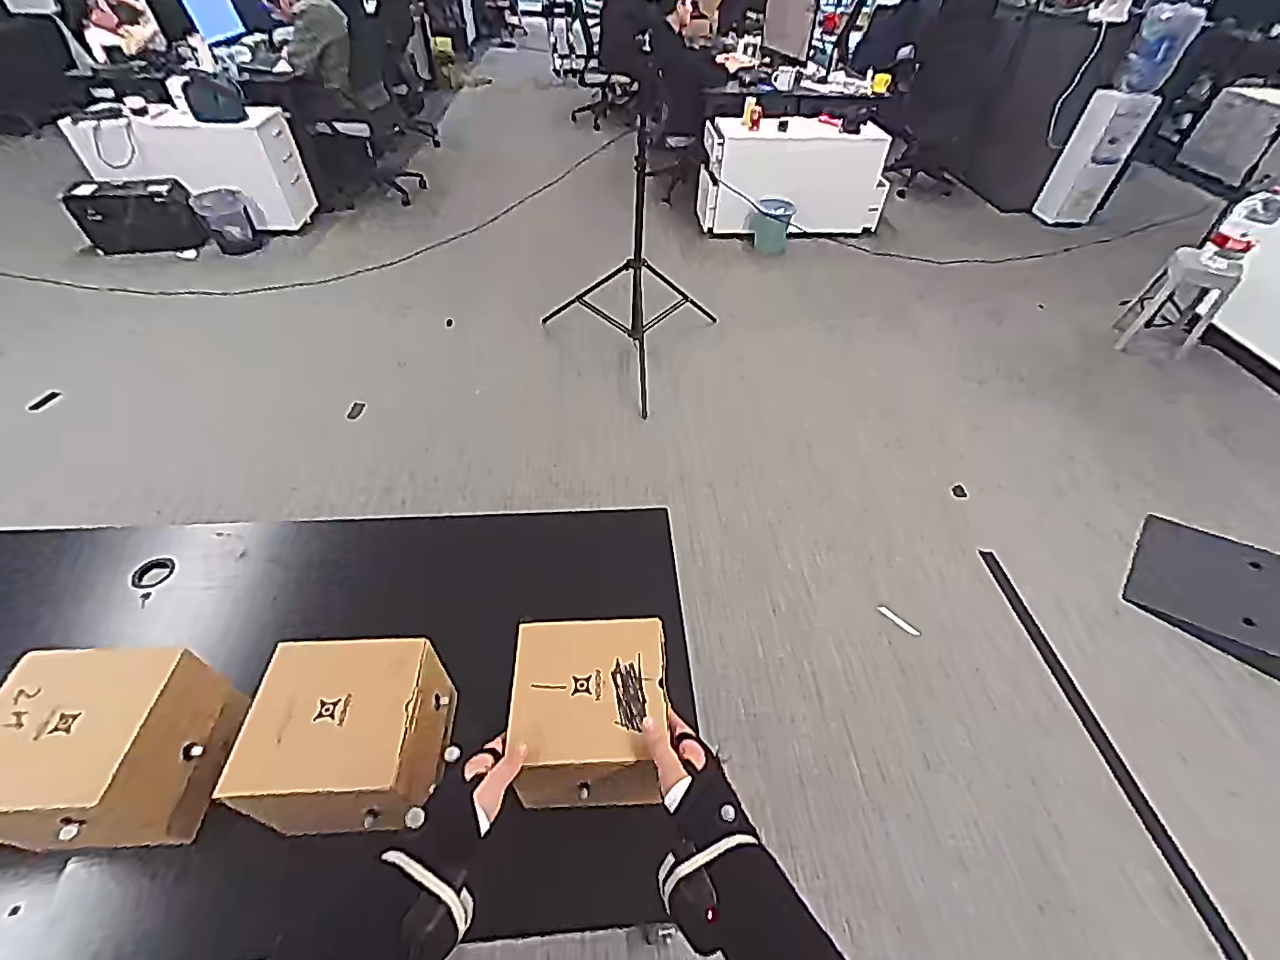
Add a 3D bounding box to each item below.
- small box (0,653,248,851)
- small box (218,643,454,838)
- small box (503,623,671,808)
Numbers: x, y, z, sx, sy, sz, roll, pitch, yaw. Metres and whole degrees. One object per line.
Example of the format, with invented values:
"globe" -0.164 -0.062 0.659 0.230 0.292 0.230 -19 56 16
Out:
"small box" -0.609 0.317 0.628 0.179 0.176 0.168 -1 46 -3
"small box" -0.336 0.312 0.647 0.179 0.176 0.168 -2 45 -3
"small box" -0.059 0.293 0.671 0.179 0.176 0.168 -2 46 -2
